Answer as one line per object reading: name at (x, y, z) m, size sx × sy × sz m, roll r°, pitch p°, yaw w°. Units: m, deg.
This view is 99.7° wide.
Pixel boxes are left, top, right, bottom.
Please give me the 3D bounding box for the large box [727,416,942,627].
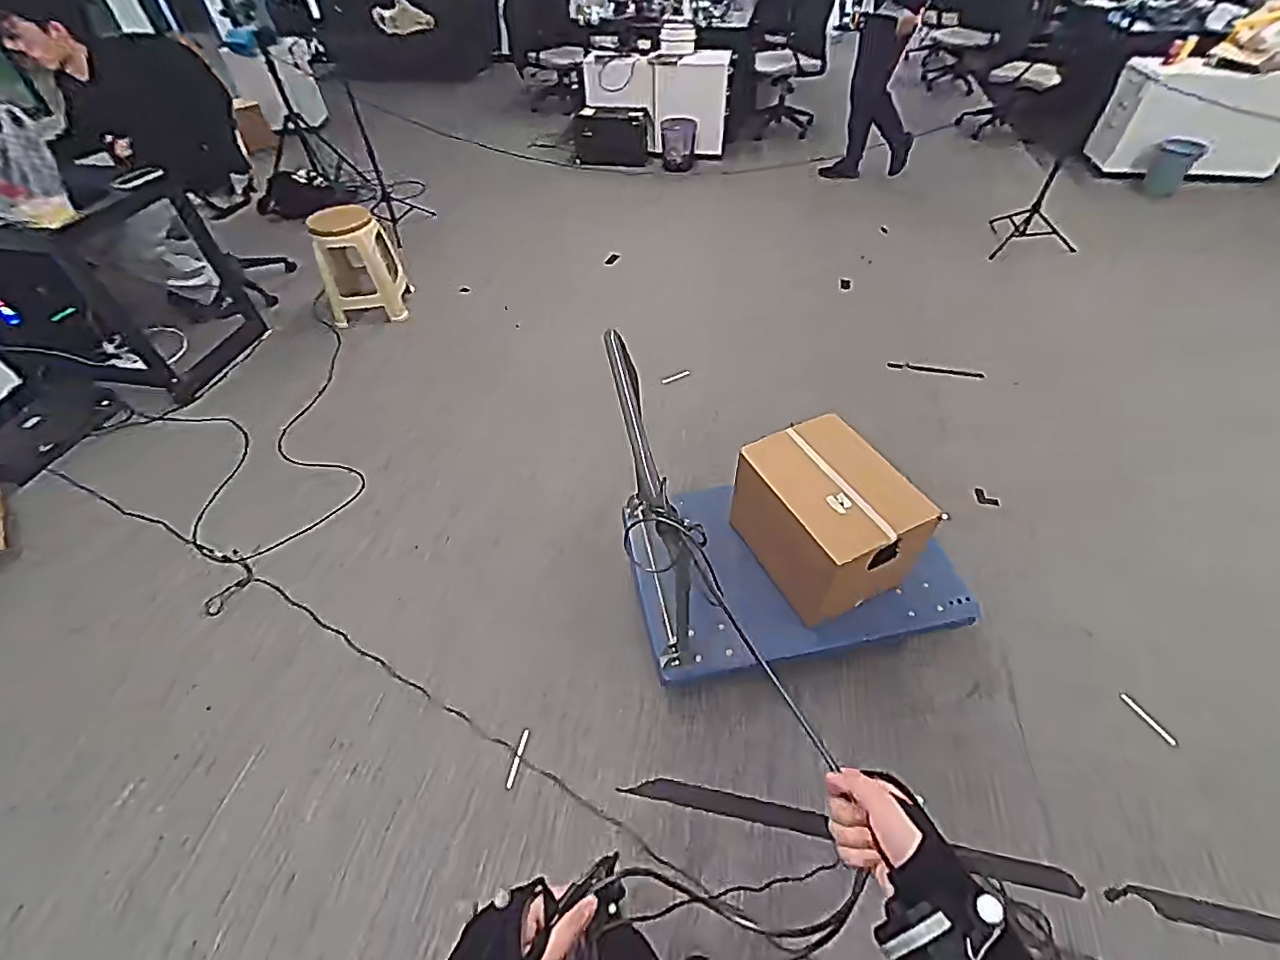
large box at (0.479, 0.102, 1.437) m, size 0.320 × 0.320 × 0.408 m, roll -22°, pitch 53°, yaw -15°
